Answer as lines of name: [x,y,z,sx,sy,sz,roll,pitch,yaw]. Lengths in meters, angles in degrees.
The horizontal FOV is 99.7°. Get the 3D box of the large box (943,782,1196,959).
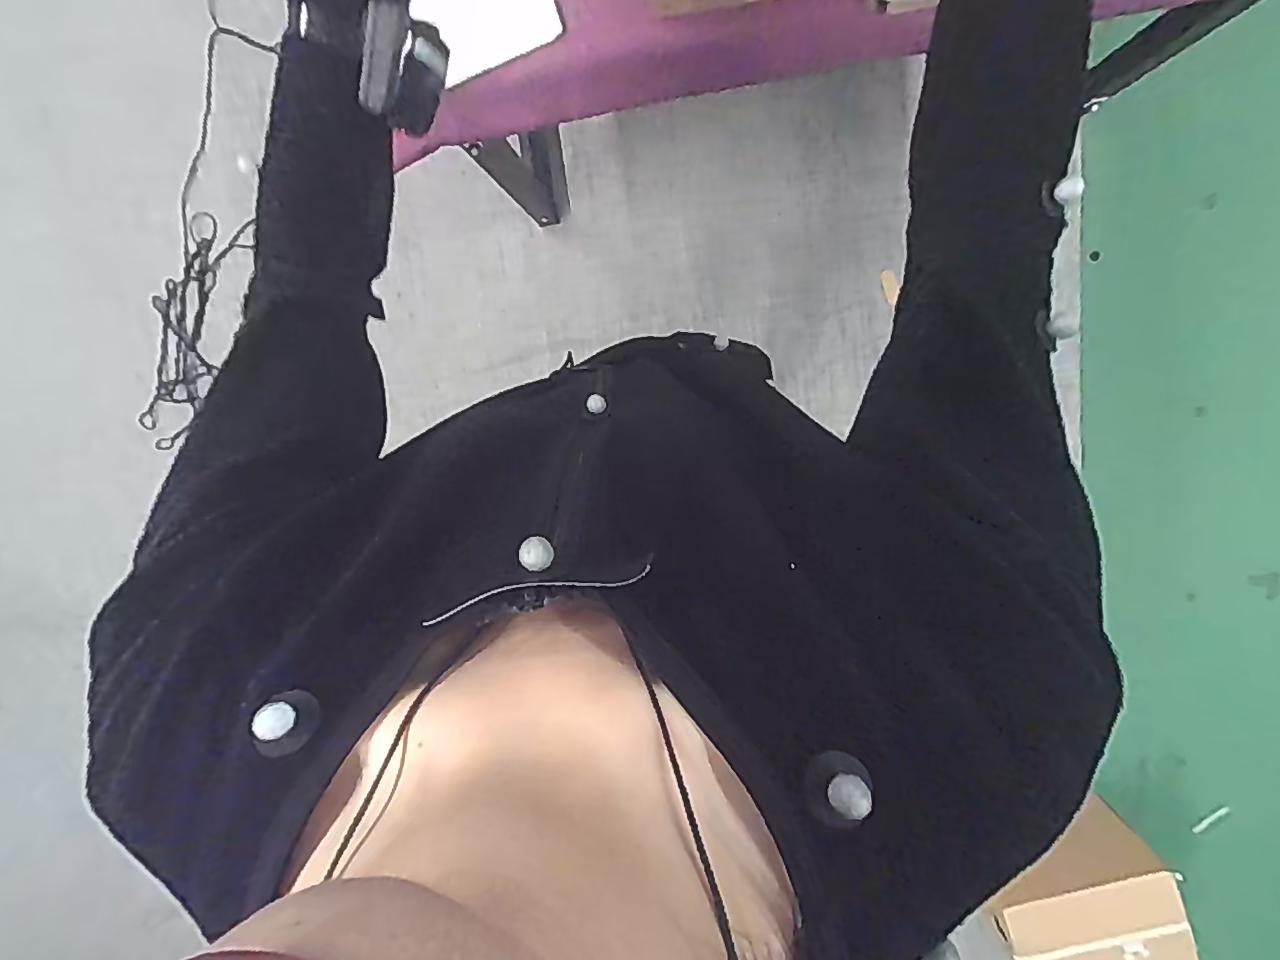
large box: [1.133,1.106,1.469,0.408,0.320,0.320,-21,99,7]
